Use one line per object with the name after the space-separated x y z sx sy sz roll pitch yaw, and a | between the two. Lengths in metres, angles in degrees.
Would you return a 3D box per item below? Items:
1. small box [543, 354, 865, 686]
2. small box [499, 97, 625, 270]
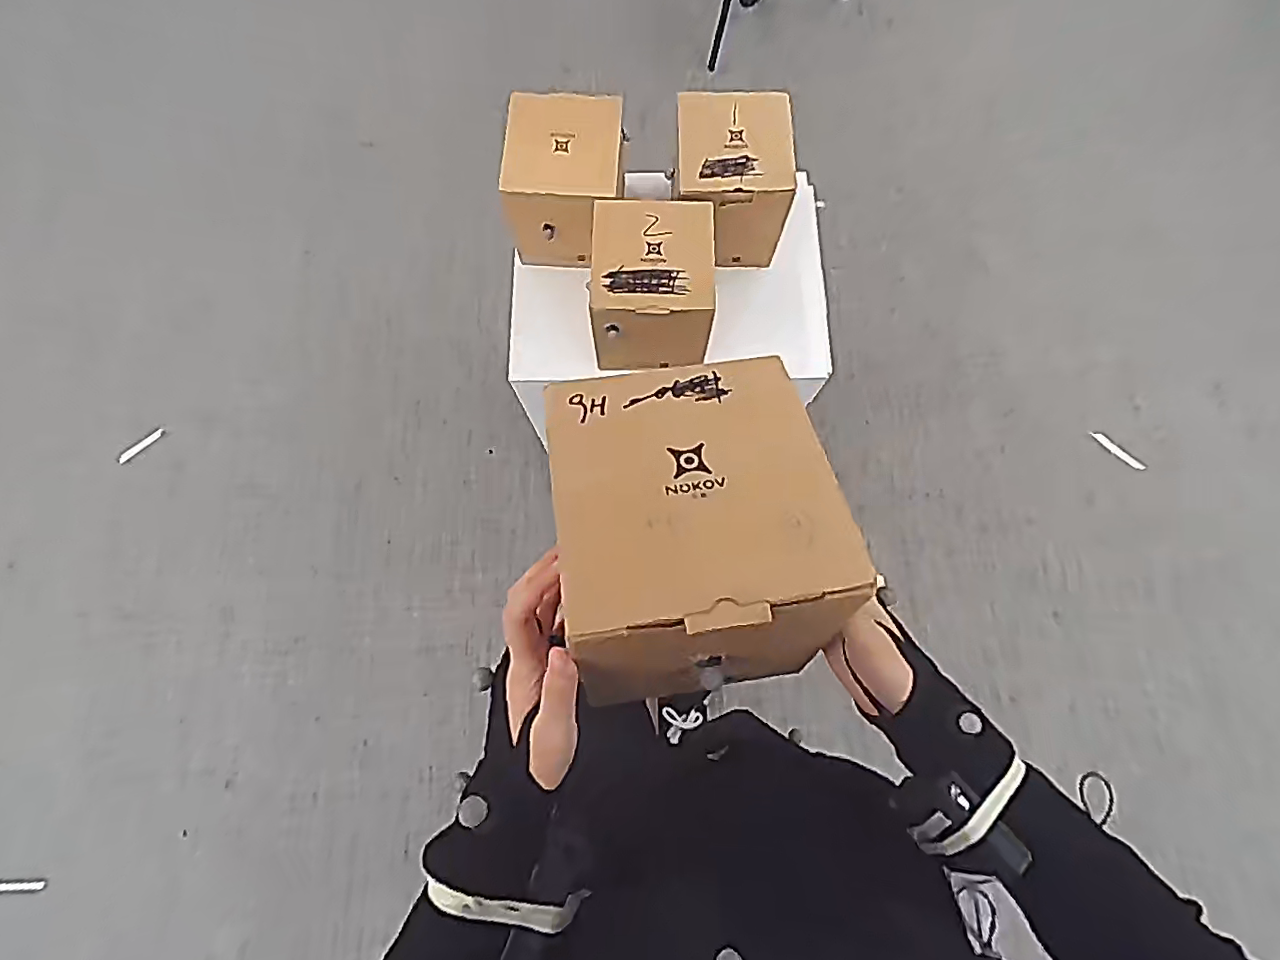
0.029 0.039 0.389 0.168 0.176 0.179 -8 58 -5 | small box
-0.111 -0.452 0.844 0.168 0.176 0.179 3 76 0 | small box
